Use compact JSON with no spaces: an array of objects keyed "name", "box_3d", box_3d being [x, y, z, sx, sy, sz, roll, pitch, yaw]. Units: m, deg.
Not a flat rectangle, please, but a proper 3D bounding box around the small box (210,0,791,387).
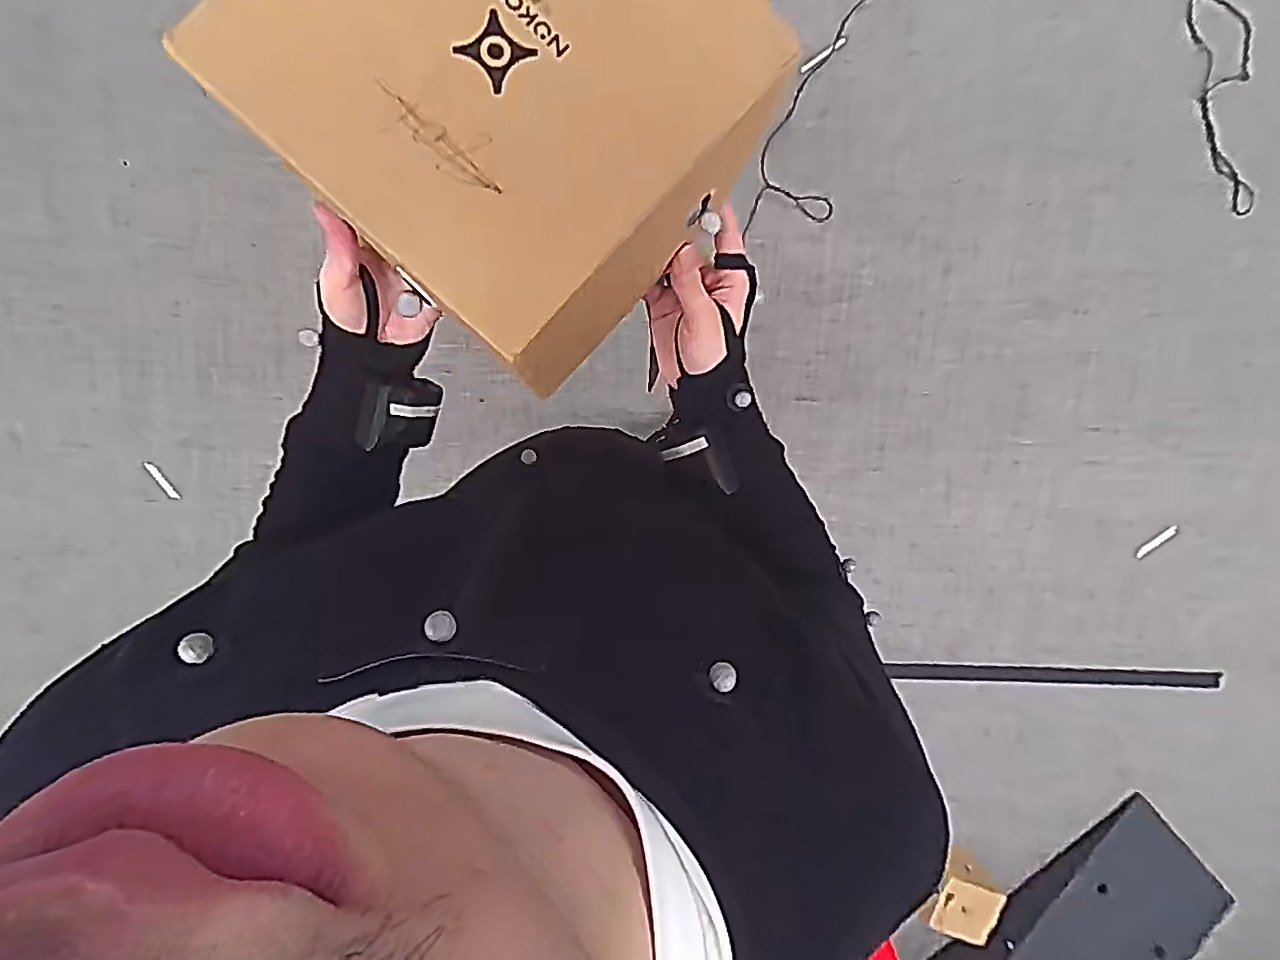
[{"name":"small box","box_3d":[-0.058,-0.173,0.296,0.168,0.176,0.179,41,90,-6]}]
